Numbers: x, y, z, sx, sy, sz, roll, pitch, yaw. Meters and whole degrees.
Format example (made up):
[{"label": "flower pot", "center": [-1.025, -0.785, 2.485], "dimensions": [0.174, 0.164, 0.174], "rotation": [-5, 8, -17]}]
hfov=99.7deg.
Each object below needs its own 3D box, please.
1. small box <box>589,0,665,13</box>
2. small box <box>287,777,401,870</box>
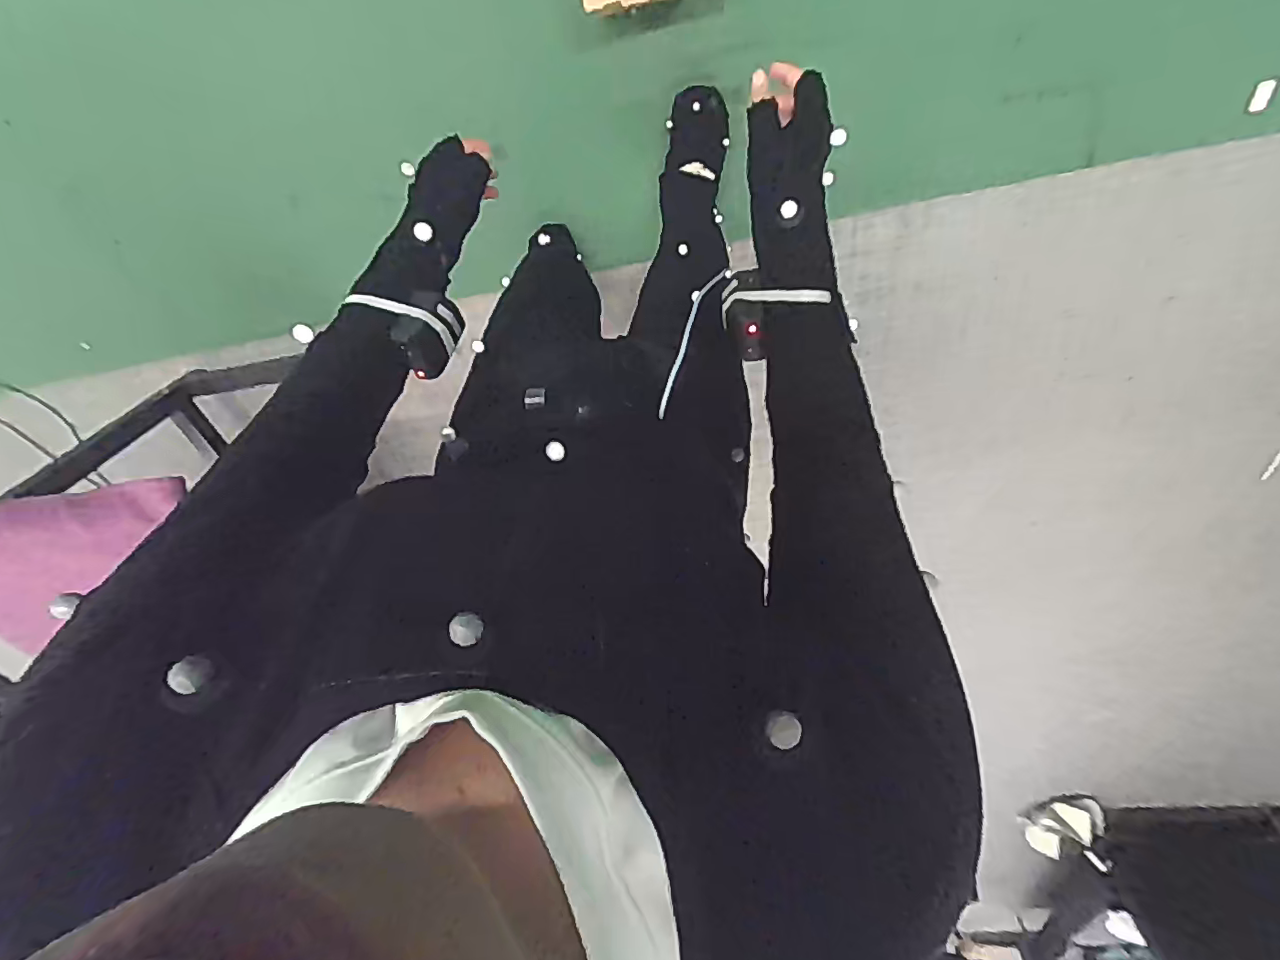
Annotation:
[{"label": "small box", "center": [-0.010, -0.875, 0.859], "dimensions": [0.168, 0.176, 0.179], "rotation": [-6, 129, 10]}, {"label": "small box", "center": [-0.780, 0.914, 1.444], "dimensions": [0.179, 0.176, 0.168], "rotation": [-6, 129, 9]}]
